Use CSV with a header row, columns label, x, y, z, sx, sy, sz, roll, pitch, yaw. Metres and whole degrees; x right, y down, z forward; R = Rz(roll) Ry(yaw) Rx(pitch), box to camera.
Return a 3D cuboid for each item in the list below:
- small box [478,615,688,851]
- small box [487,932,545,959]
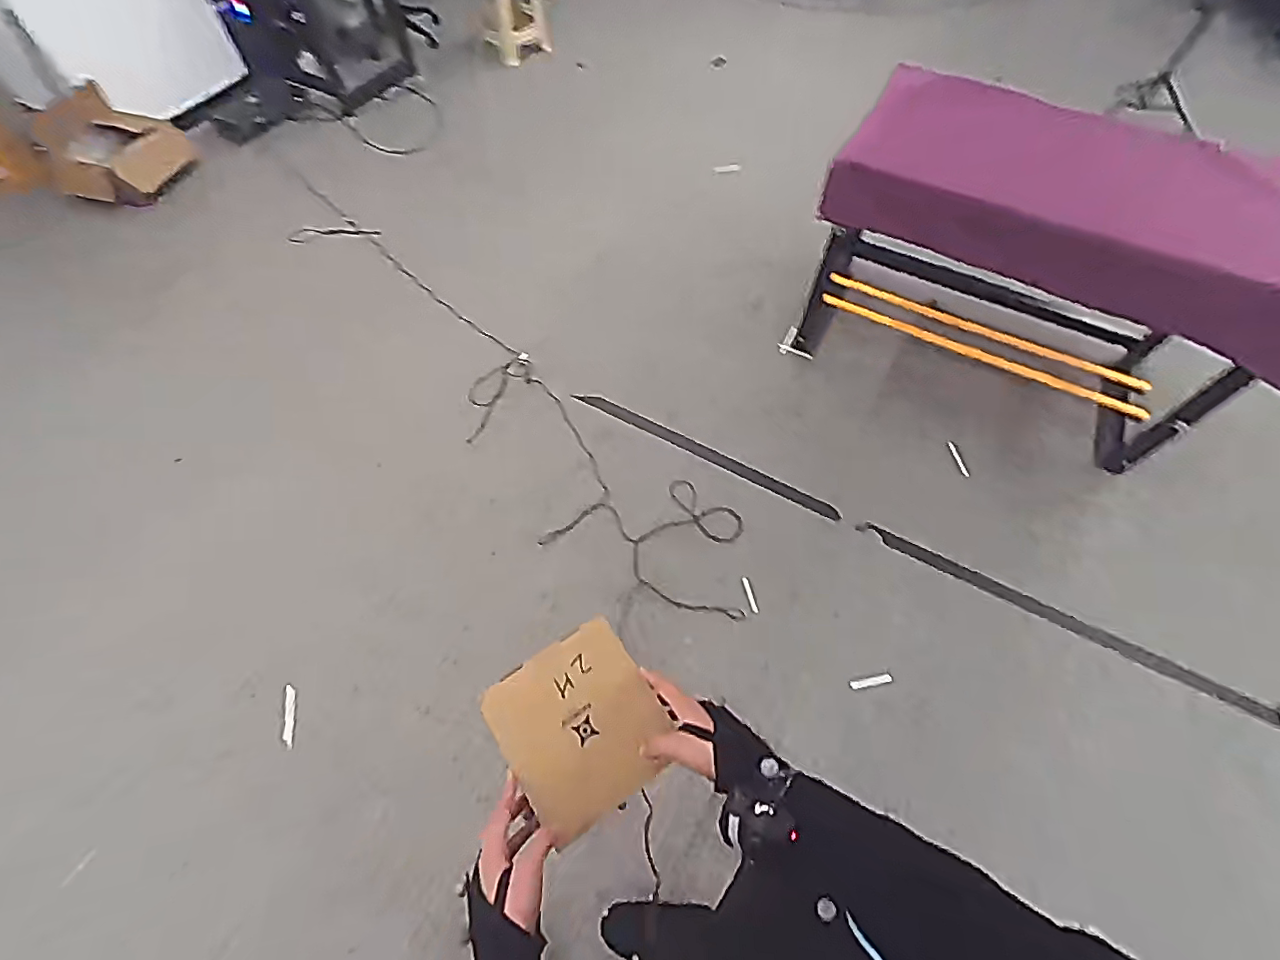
label,x,y,z,sx,sy,sz,roll,pitch,yaw
small box,-0.068,0.291,0.645,0.168,0.176,0.179,-29,71,-19
small box,-0.268,1.074,1.099,0.168,0.176,0.179,28,65,16
